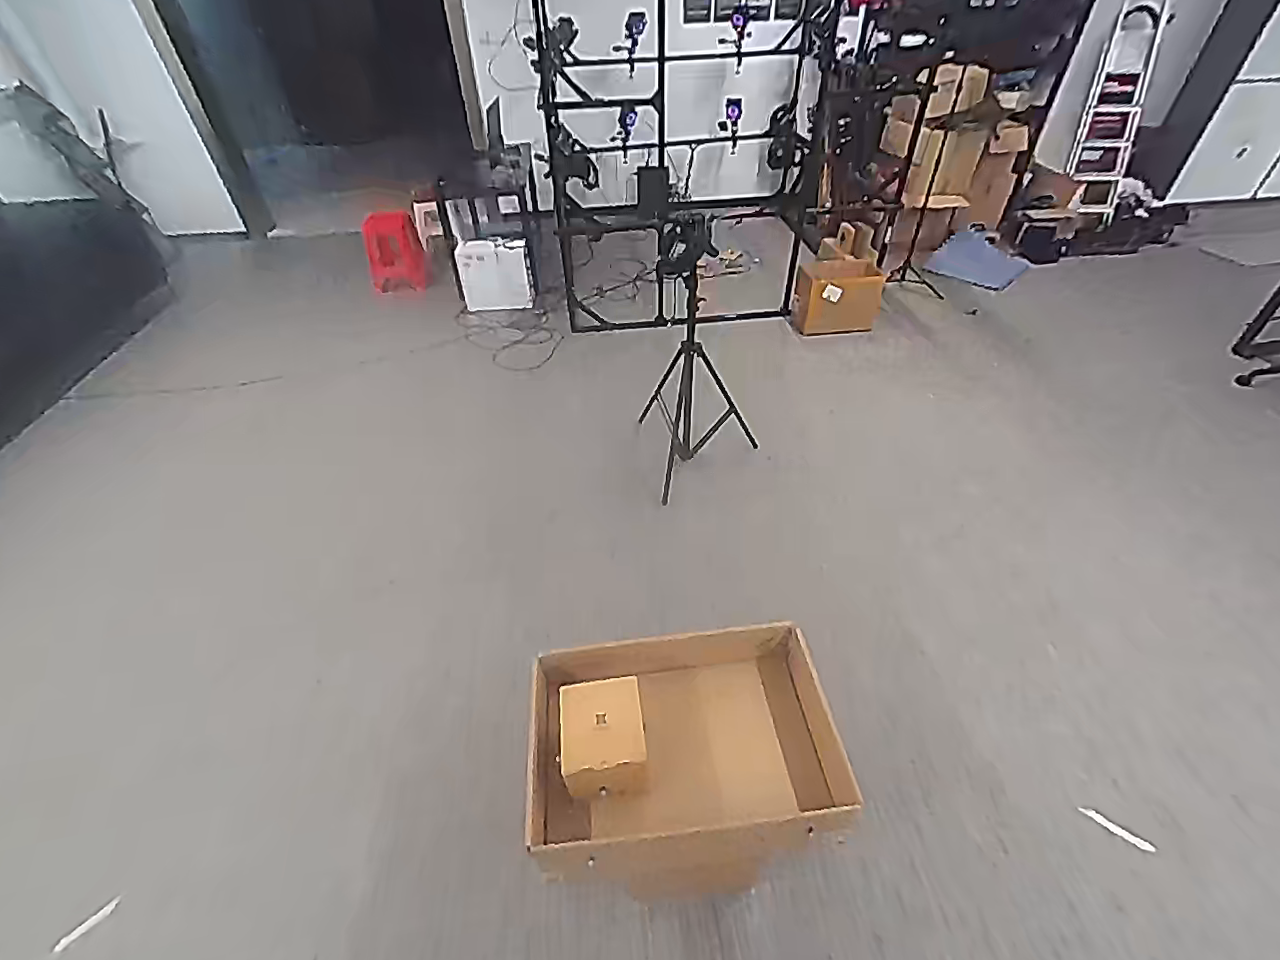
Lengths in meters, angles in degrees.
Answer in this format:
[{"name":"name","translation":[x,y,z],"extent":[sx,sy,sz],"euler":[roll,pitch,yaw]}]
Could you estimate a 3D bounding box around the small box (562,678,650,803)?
[{"name":"small box","translation":[-0.072,0.543,1.128],"extent":[0.168,0.176,0.179],"euler":[-7,43,-4]}]
